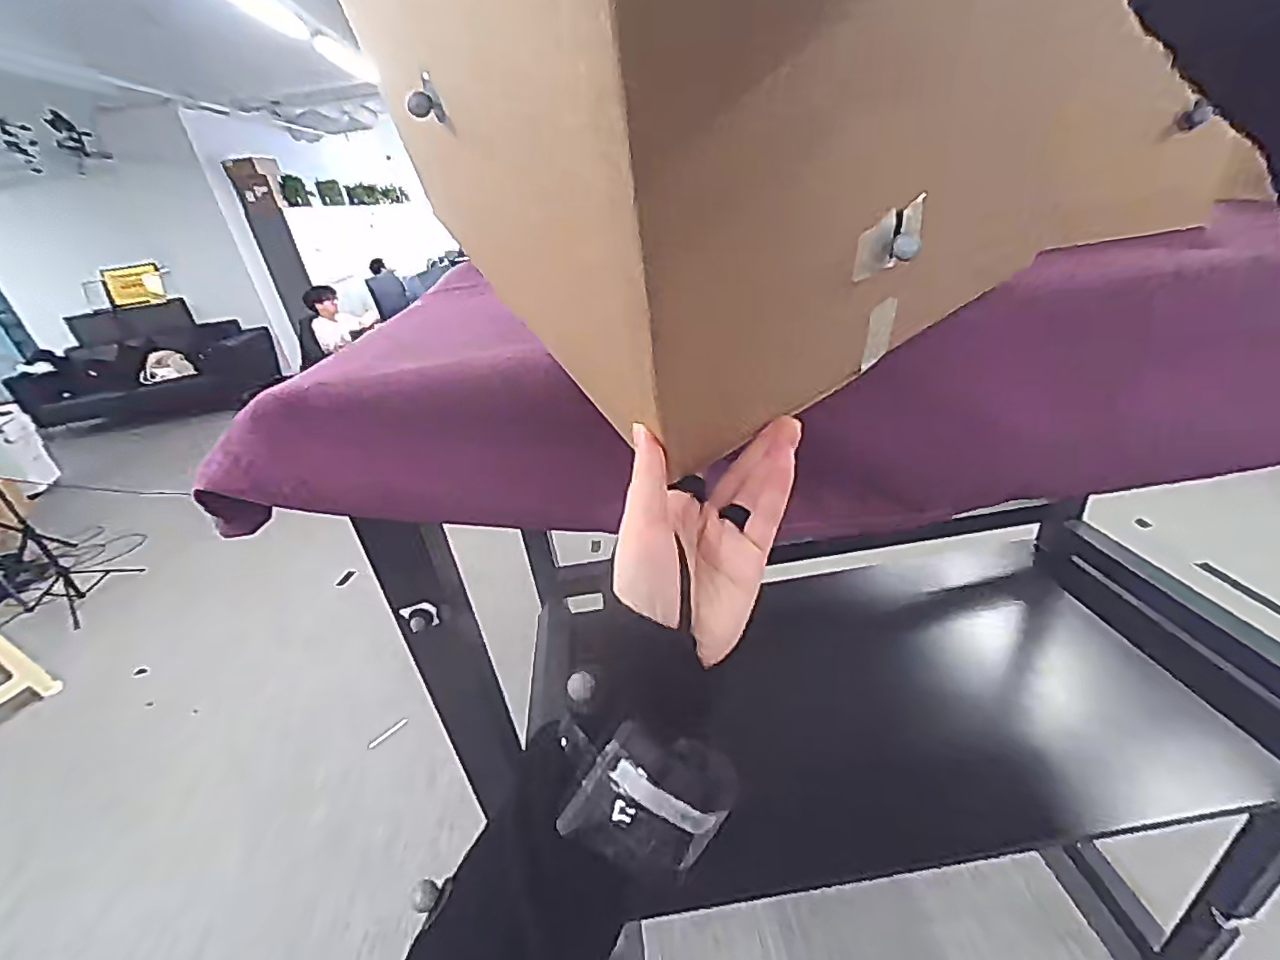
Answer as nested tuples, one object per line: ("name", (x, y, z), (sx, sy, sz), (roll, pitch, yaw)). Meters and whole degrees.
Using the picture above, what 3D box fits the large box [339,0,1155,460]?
("large box", (0.019, -0.288, 0.323), (0.320, 0.320, 0.408), (-31, 54, -15))

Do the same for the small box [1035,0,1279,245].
("small box", (0.400, -0.326, 0.509), (0.179, 0.176, 0.168), (-9, 27, 1))
